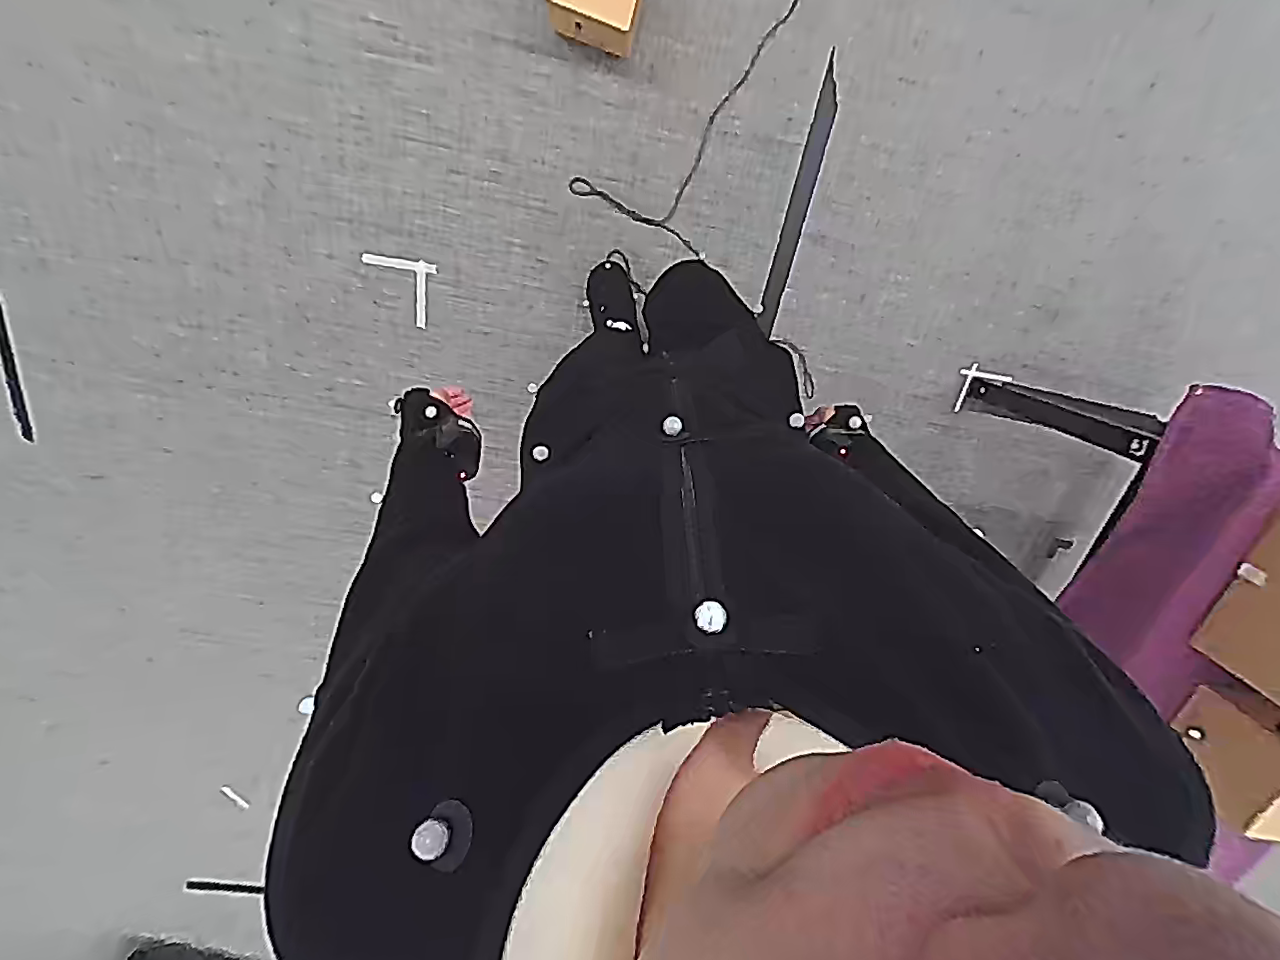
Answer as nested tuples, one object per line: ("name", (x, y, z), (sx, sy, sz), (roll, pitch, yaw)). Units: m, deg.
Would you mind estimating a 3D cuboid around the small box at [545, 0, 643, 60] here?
("small box", (-0.076, -0.971, 1.059), (0.168, 0.176, 0.179), (15, 111, -8))
